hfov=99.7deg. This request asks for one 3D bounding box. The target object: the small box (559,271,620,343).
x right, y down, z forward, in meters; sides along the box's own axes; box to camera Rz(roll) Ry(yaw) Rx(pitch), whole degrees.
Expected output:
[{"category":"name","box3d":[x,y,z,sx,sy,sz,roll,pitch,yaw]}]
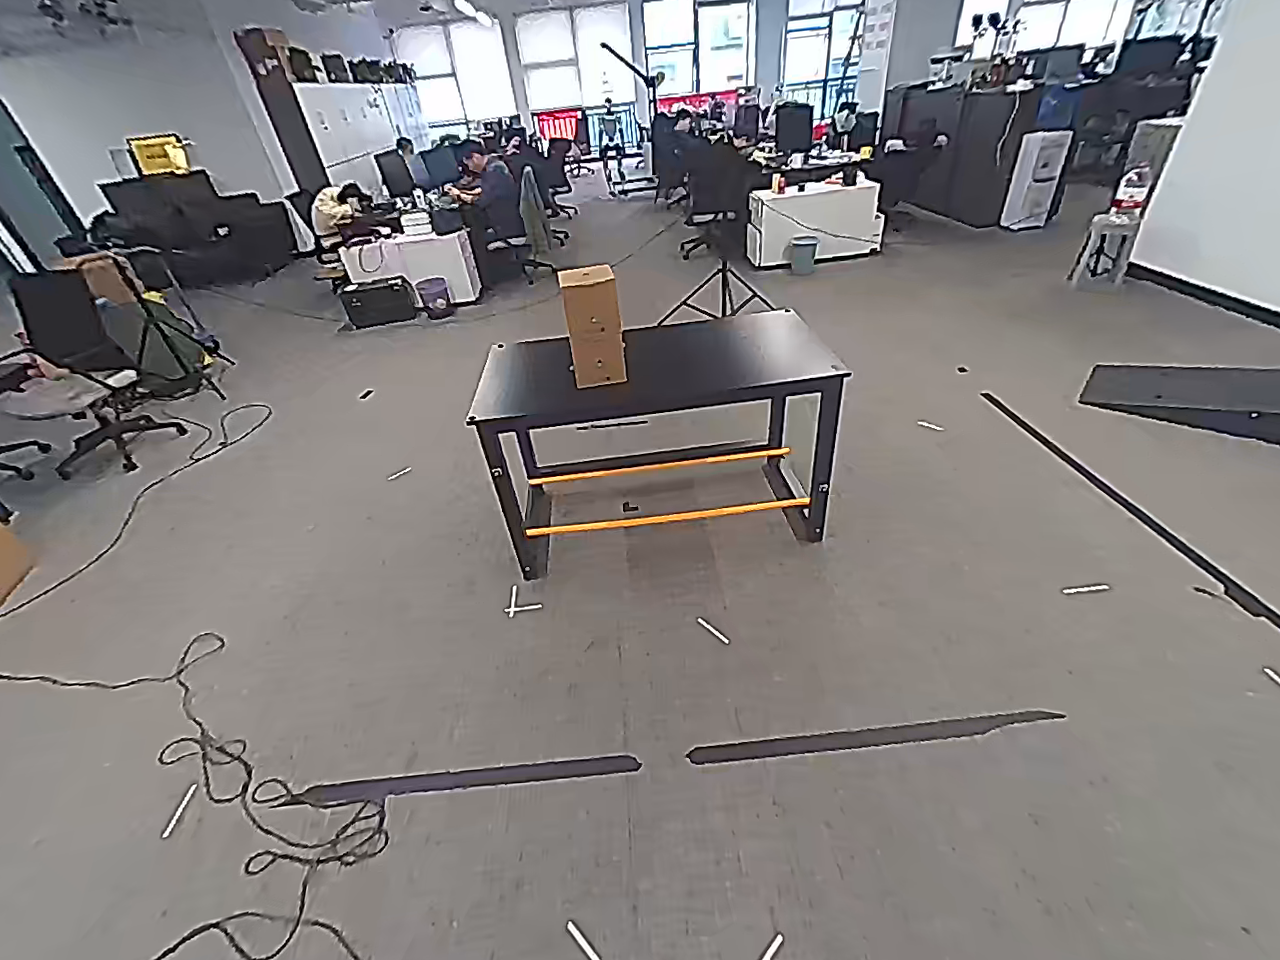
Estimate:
[{"category":"small box","box3d":[-0.162,-0.551,1.722,0.168,0.176,0.179,-11,36,-5]}]

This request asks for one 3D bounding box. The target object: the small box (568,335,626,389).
[{"category":"small box","box3d":[-0.145,-0.415,1.816,0.168,0.176,0.179,-10,36,-4]}]
